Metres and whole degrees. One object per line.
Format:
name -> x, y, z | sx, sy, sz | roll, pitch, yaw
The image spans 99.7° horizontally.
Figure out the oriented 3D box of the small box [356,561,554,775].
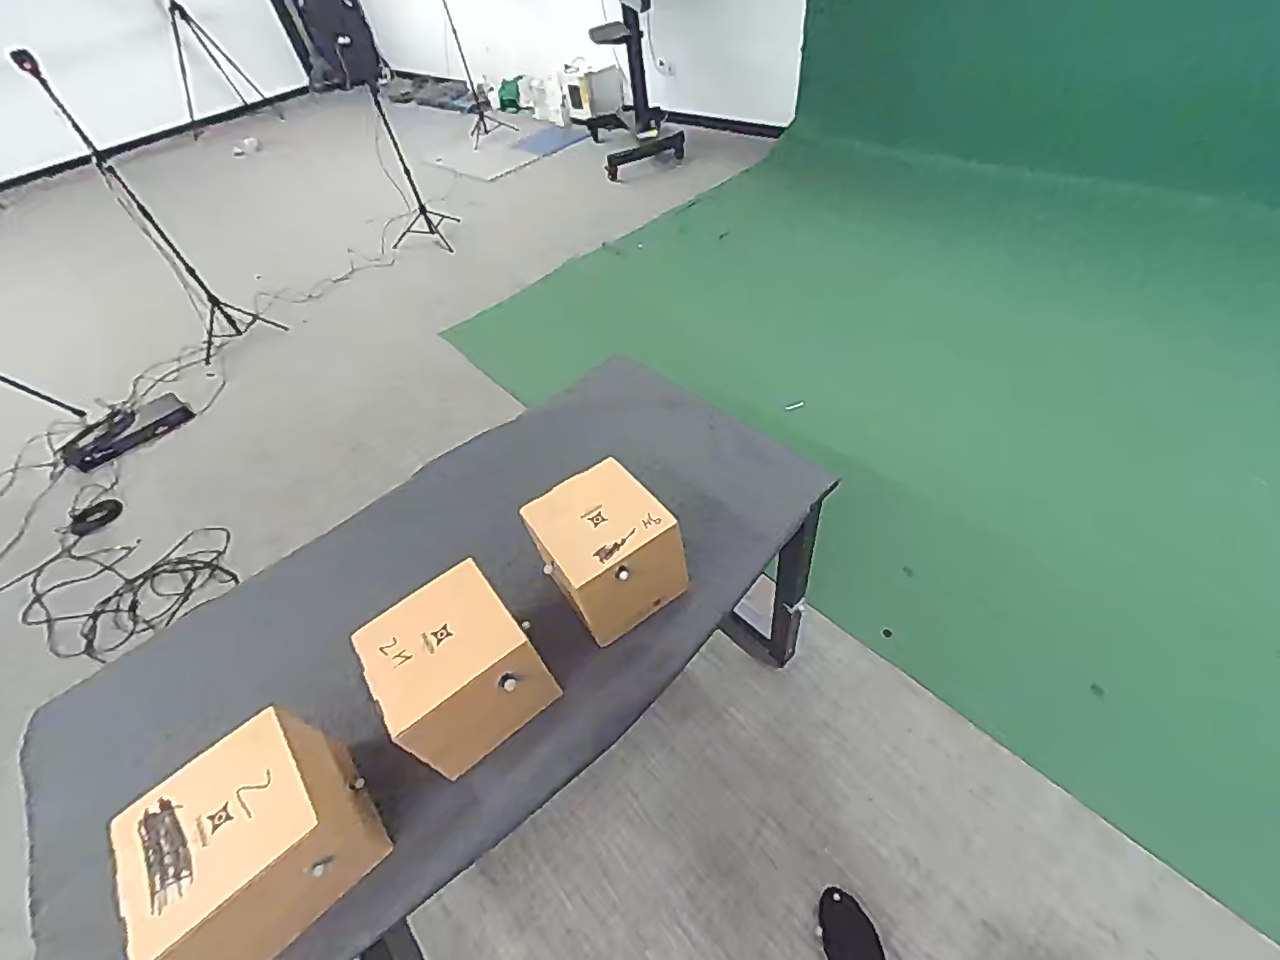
small box -> -0.232, 0.248, 0.718 | 0.179, 0.176, 0.168 | -35, 50, -18
